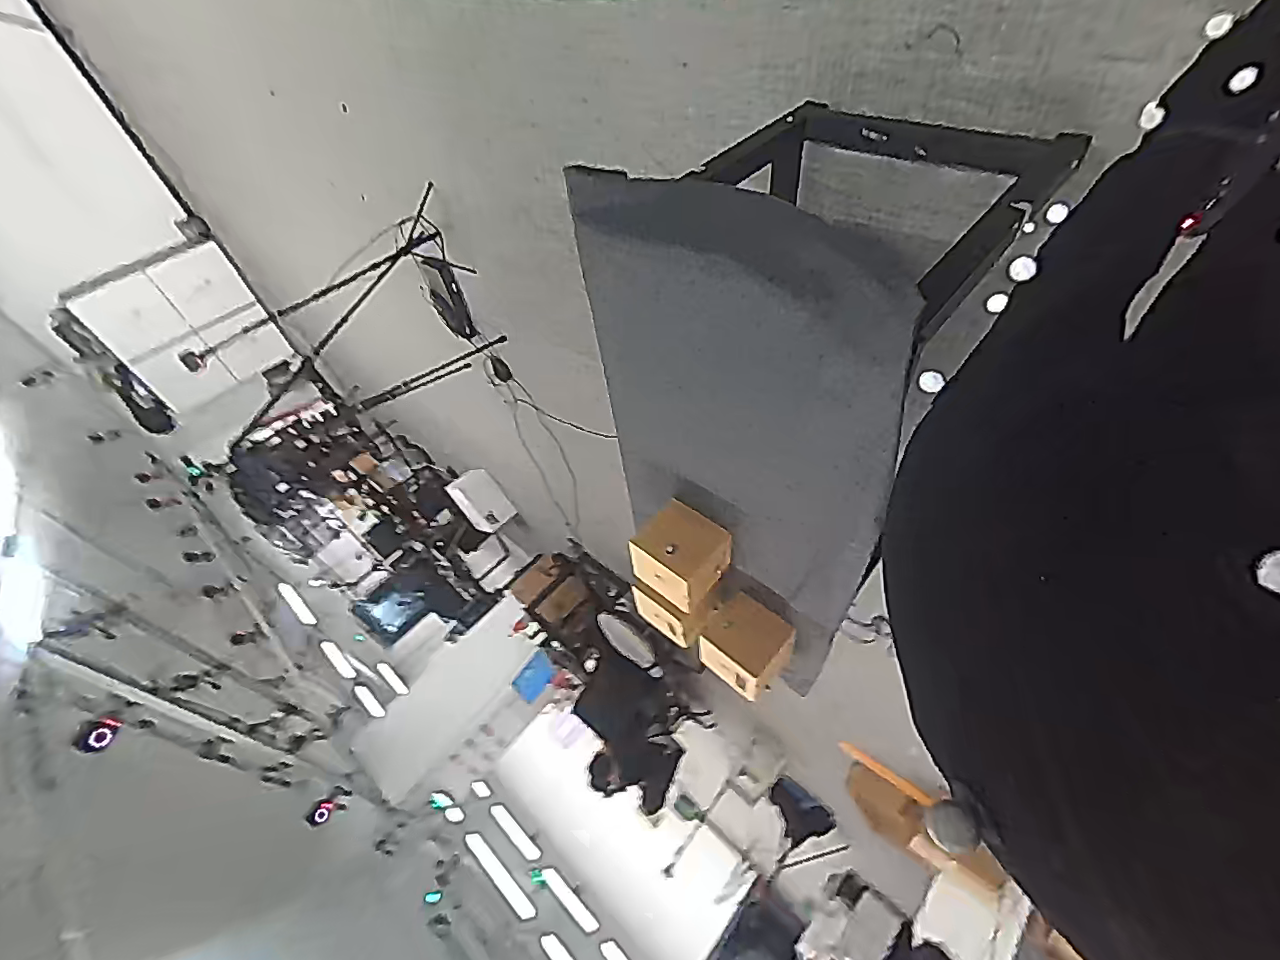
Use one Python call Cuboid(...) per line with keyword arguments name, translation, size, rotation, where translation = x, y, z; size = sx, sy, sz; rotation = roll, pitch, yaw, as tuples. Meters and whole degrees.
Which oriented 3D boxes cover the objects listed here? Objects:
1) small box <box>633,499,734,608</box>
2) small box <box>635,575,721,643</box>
Cuboid(name="small box", translation=(0.107, 0.171, 1.322), size=(0.179, 0.176, 0.168), rotation=(32, 151, 28))
Cuboid(name="small box", translation=(0.114, 0.314, 1.514), size=(0.179, 0.176, 0.168), rotation=(31, 151, 31))
